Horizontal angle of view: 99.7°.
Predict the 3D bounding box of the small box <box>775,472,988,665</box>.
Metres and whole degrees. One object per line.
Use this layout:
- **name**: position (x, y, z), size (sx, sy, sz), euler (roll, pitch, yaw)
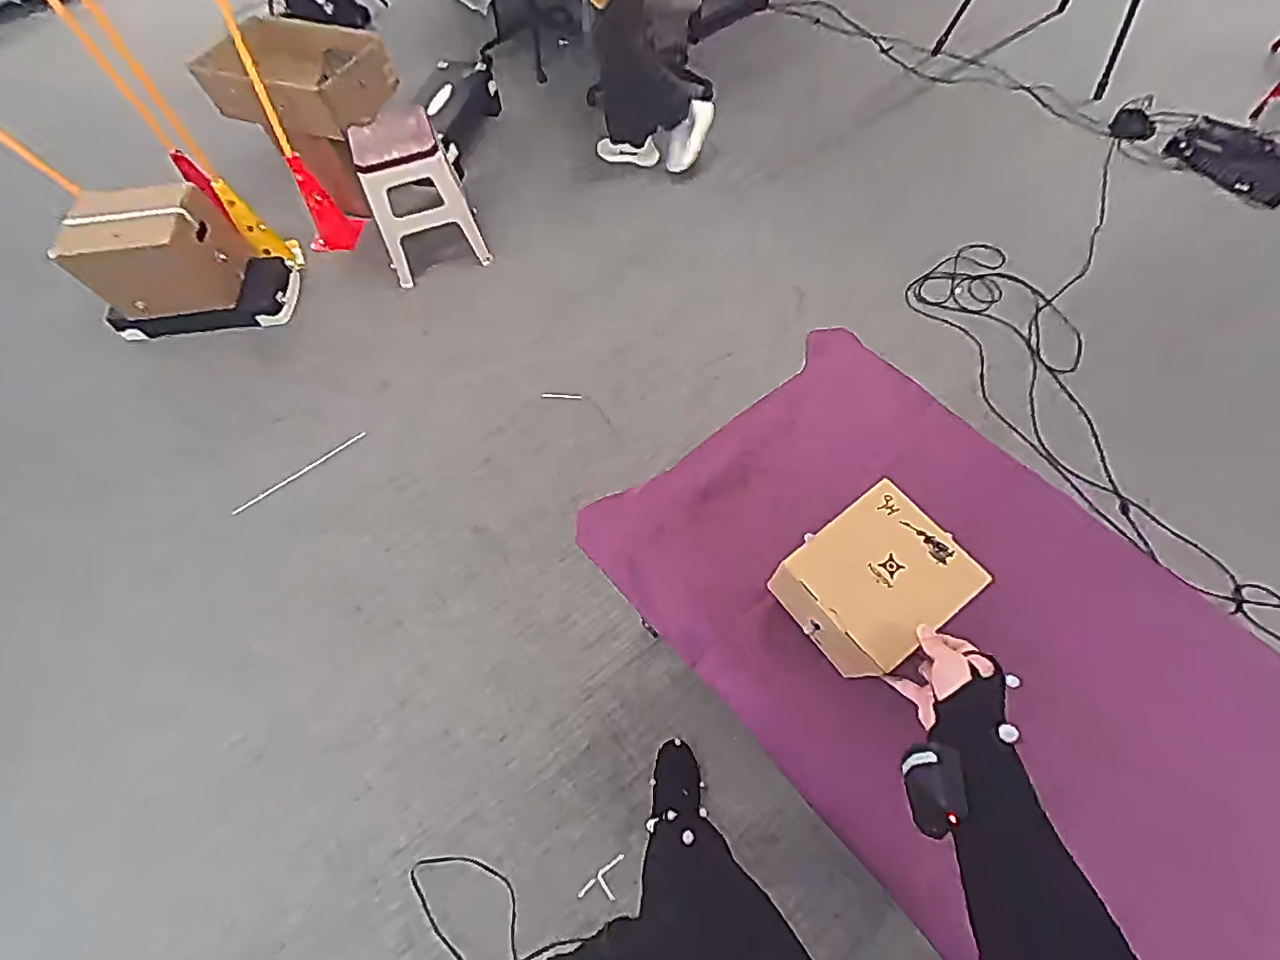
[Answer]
- **small box**: position (0.295, 0.126, 0.709), size (0.179, 0.176, 0.168), euler (-37, 70, -7)
